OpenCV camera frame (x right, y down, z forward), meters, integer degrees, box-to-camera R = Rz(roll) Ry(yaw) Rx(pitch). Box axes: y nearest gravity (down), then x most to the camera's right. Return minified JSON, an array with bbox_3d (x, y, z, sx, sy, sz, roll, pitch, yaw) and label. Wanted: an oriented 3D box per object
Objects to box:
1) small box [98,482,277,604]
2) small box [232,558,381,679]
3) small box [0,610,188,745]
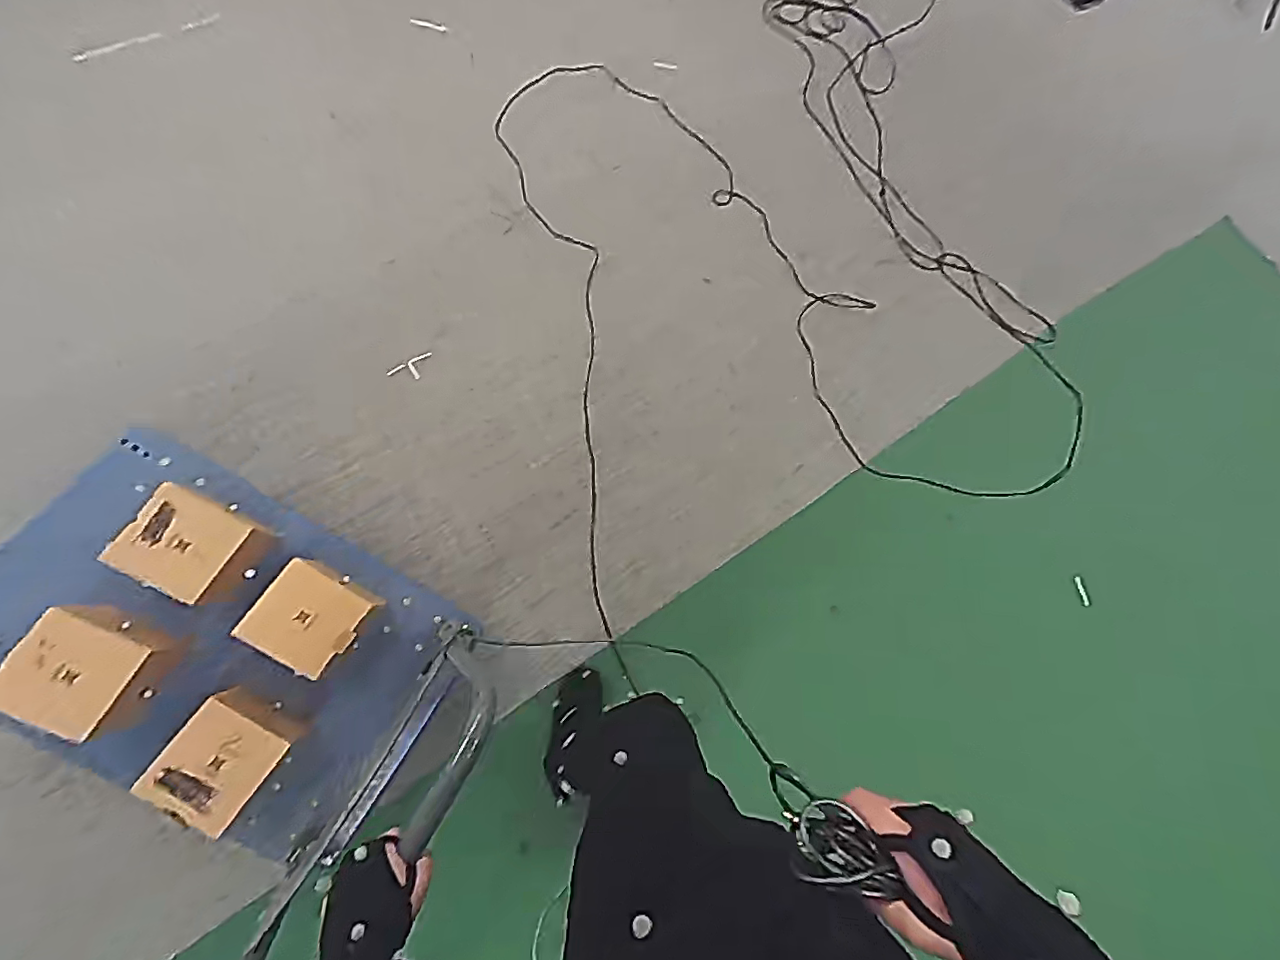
[{"bbox_3d":[-0.865,0.130,1.056,0.179,0.176,0.168,32,72,-9],"label":"small box"},{"bbox_3d":[-0.657,0.277,1.092,0.179,0.176,0.168,35,71,-9],"label":"small box"},{"bbox_3d":[-0.983,0.342,0.975,0.179,0.176,0.168,30,71,-9],"label":"small box"}]
